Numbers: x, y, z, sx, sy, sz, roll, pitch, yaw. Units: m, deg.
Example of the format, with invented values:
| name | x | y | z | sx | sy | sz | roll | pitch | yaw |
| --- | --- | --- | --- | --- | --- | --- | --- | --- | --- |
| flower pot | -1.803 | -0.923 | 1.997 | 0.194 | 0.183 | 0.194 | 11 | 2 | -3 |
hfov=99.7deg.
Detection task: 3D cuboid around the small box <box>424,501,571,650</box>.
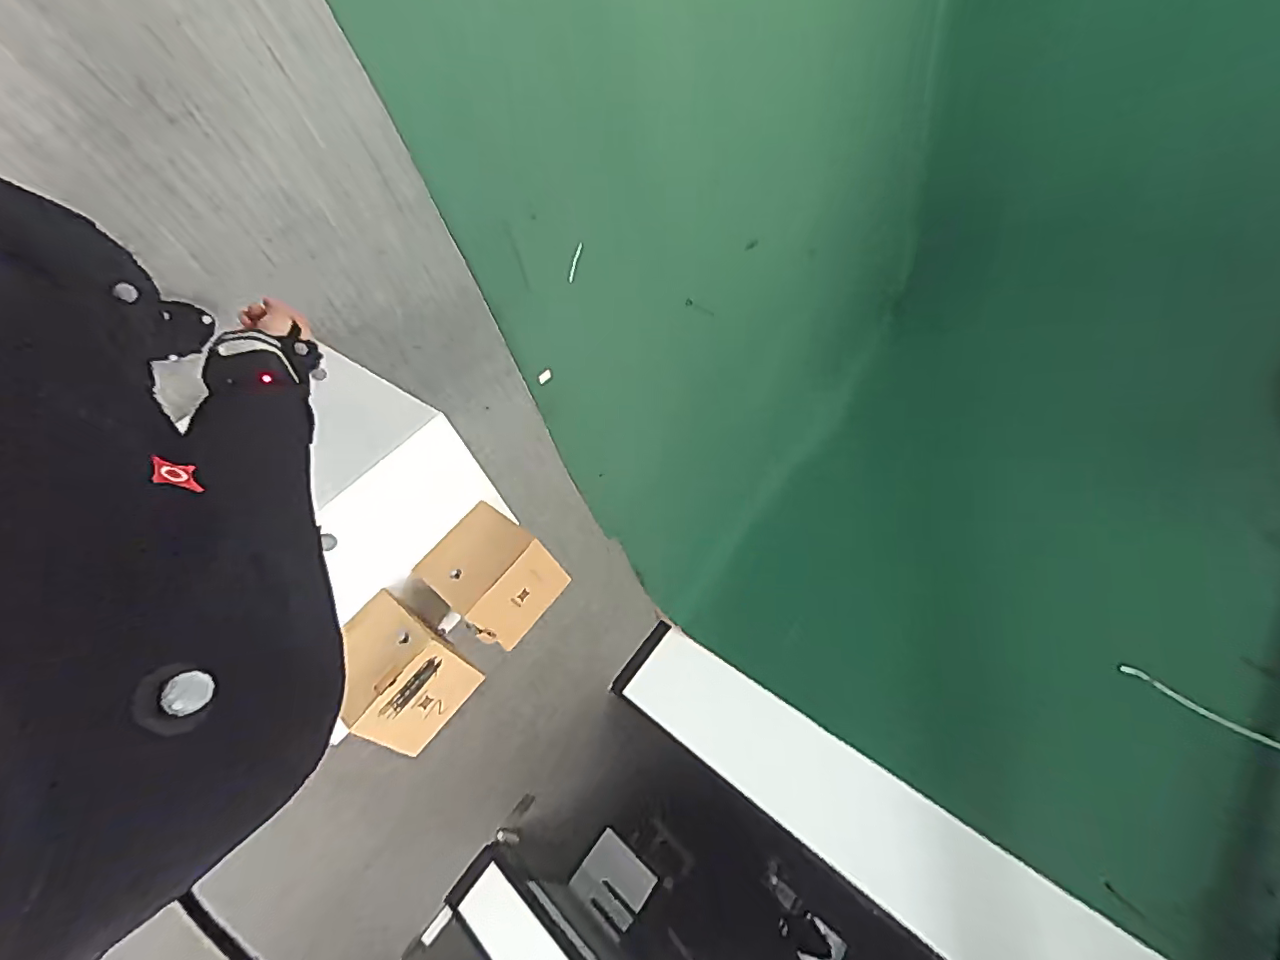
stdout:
| name | x | y | z | sx | sy | sz | roll | pitch | yaw |
| --- | --- | --- | --- | --- | --- | --- | --- | --- | --- |
| small box | -0.267 | 0.173 | 0.996 | 0.179 | 0.176 | 0.168 | -50 | 145 | -19 |
